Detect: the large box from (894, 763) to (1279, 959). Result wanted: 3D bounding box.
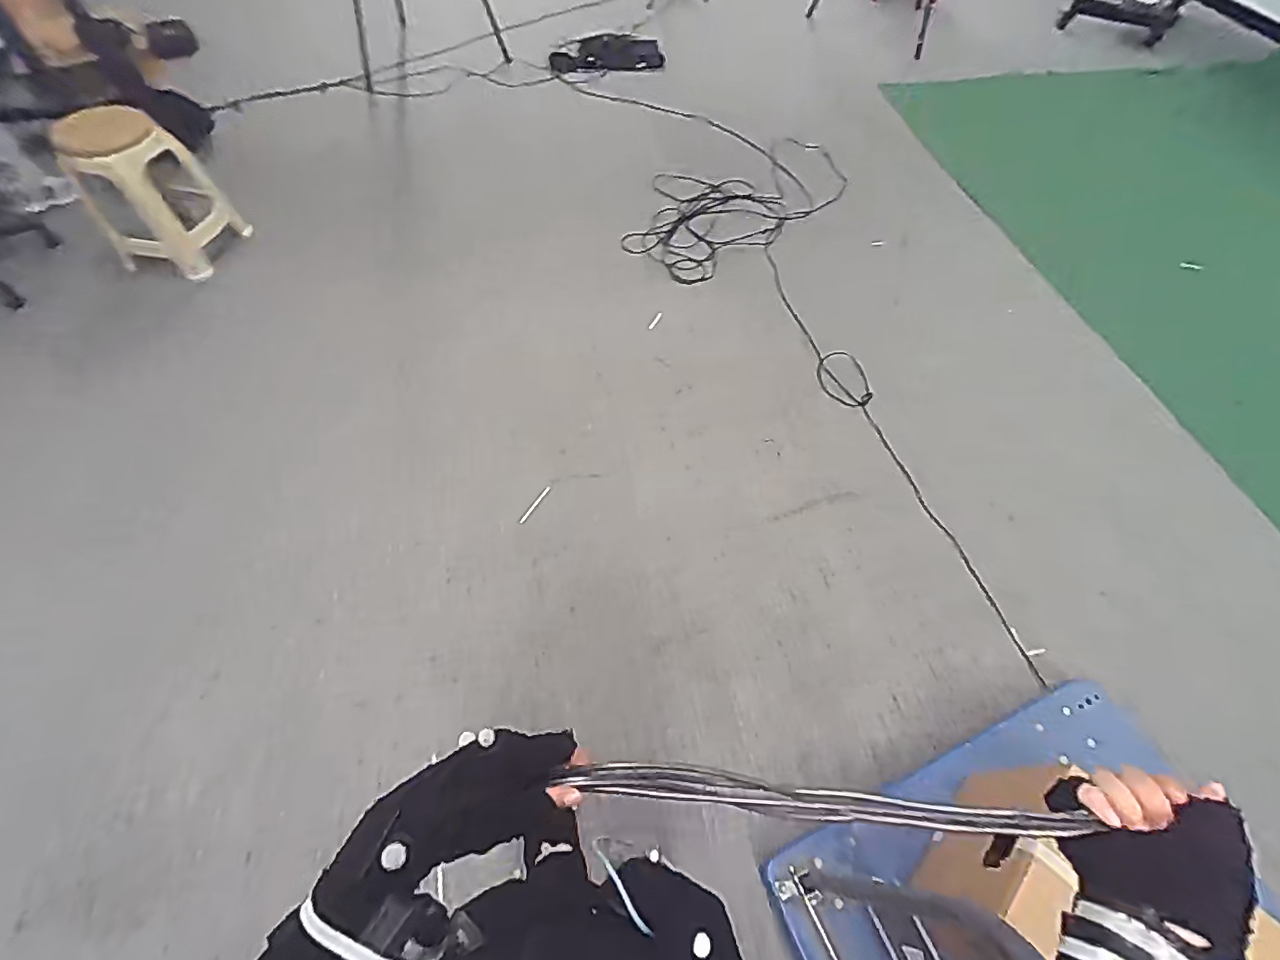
[{"bbox_3d":[0.721,0.745,0.882,0.408,0.320,0.320,40,65,21],"label":"large box"}]
